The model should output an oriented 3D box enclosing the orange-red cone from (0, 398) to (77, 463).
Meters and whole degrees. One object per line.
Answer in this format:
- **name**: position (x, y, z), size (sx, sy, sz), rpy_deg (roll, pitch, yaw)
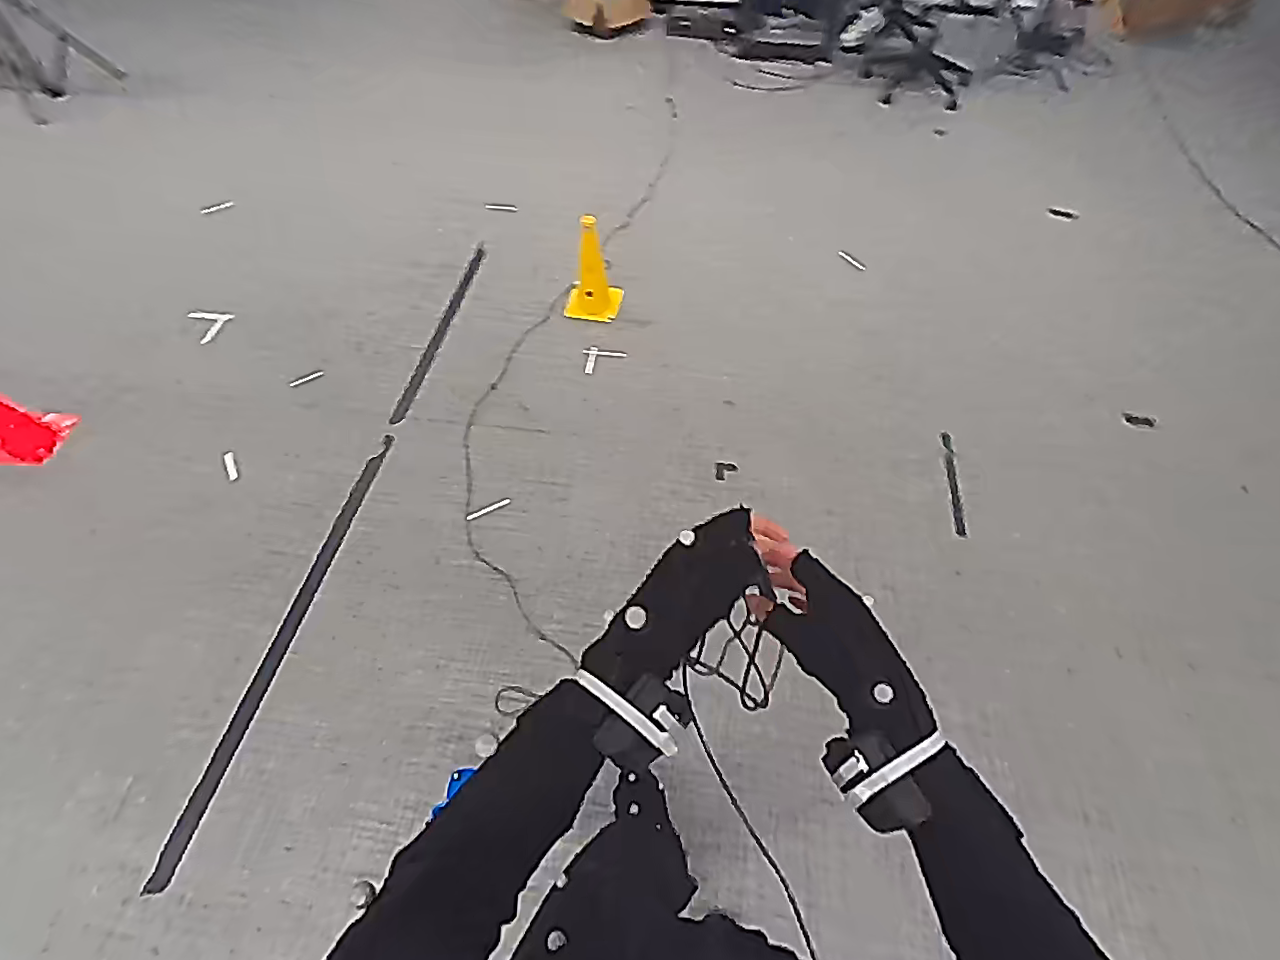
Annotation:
- **orange-red cone**: position (-1.994, -0.229, 1.635), size (0.198, 0.360, 0.199), rpy_deg (3, 58, 2)
